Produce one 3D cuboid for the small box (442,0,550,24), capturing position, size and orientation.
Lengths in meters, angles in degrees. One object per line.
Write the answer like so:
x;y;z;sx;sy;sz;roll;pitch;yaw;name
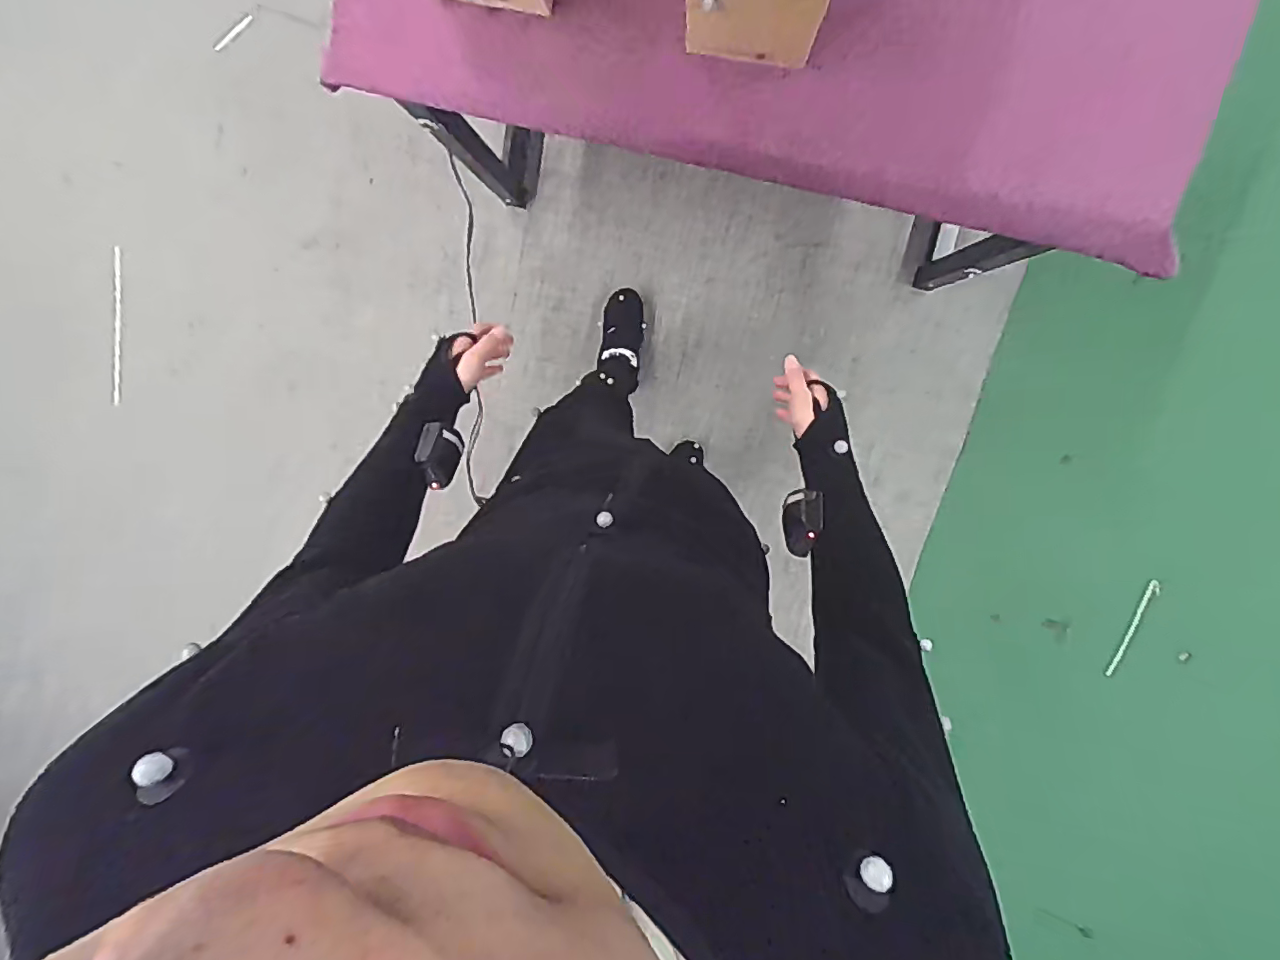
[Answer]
-0.198;-0.720;0.662;0.168;0.176;0.179;12;102;3;small box
